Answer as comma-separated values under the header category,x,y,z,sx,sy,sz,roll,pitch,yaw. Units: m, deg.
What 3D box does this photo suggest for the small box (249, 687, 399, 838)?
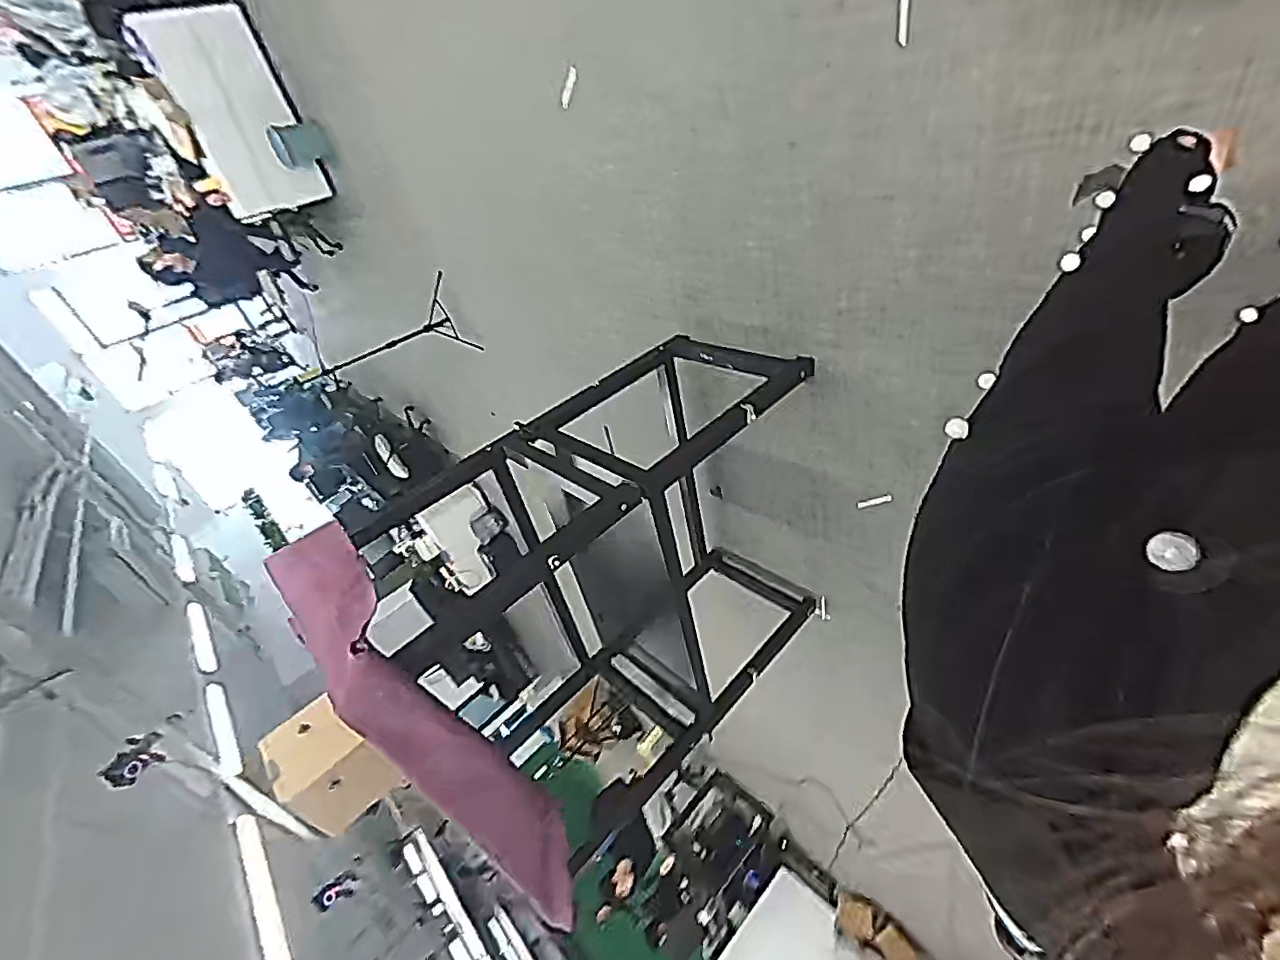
category,x,y,z,sx,sy,sz,roll,pitch,yaw
small box,-0.612,0.547,1.063,0.168,0.176,0.179,31,146,38
